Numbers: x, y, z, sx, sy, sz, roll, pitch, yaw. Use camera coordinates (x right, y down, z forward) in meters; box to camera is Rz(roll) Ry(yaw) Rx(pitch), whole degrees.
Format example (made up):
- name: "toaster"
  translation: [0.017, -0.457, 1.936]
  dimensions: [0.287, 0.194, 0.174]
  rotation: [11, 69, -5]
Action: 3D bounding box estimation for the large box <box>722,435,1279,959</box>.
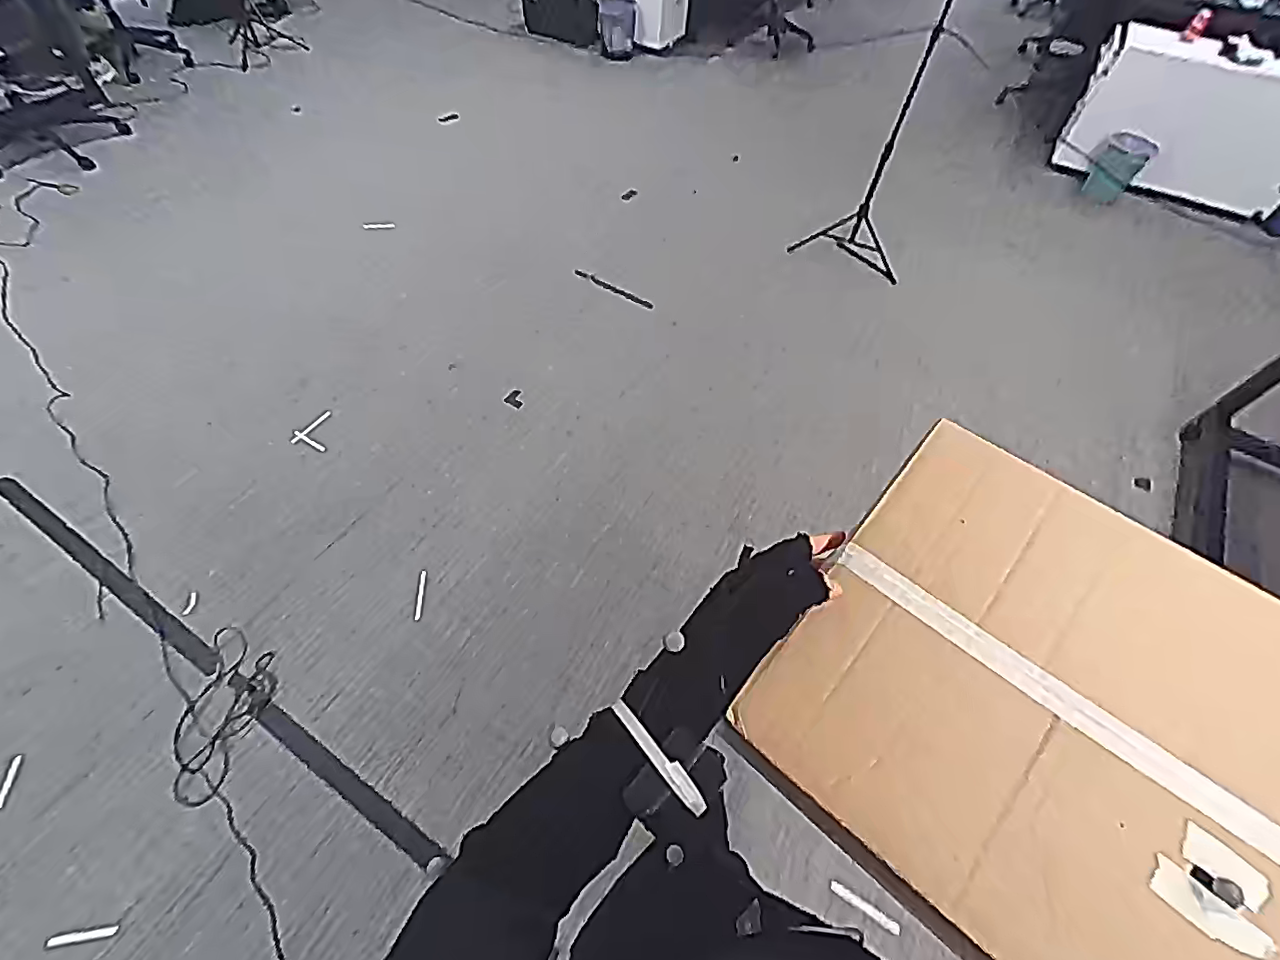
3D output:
- name: "large box"
  translation: [0.328, 0.237, 0.498]
  dimensions: [0.408, 0.320, 0.320]
  rotation: [37, 74, 21]
